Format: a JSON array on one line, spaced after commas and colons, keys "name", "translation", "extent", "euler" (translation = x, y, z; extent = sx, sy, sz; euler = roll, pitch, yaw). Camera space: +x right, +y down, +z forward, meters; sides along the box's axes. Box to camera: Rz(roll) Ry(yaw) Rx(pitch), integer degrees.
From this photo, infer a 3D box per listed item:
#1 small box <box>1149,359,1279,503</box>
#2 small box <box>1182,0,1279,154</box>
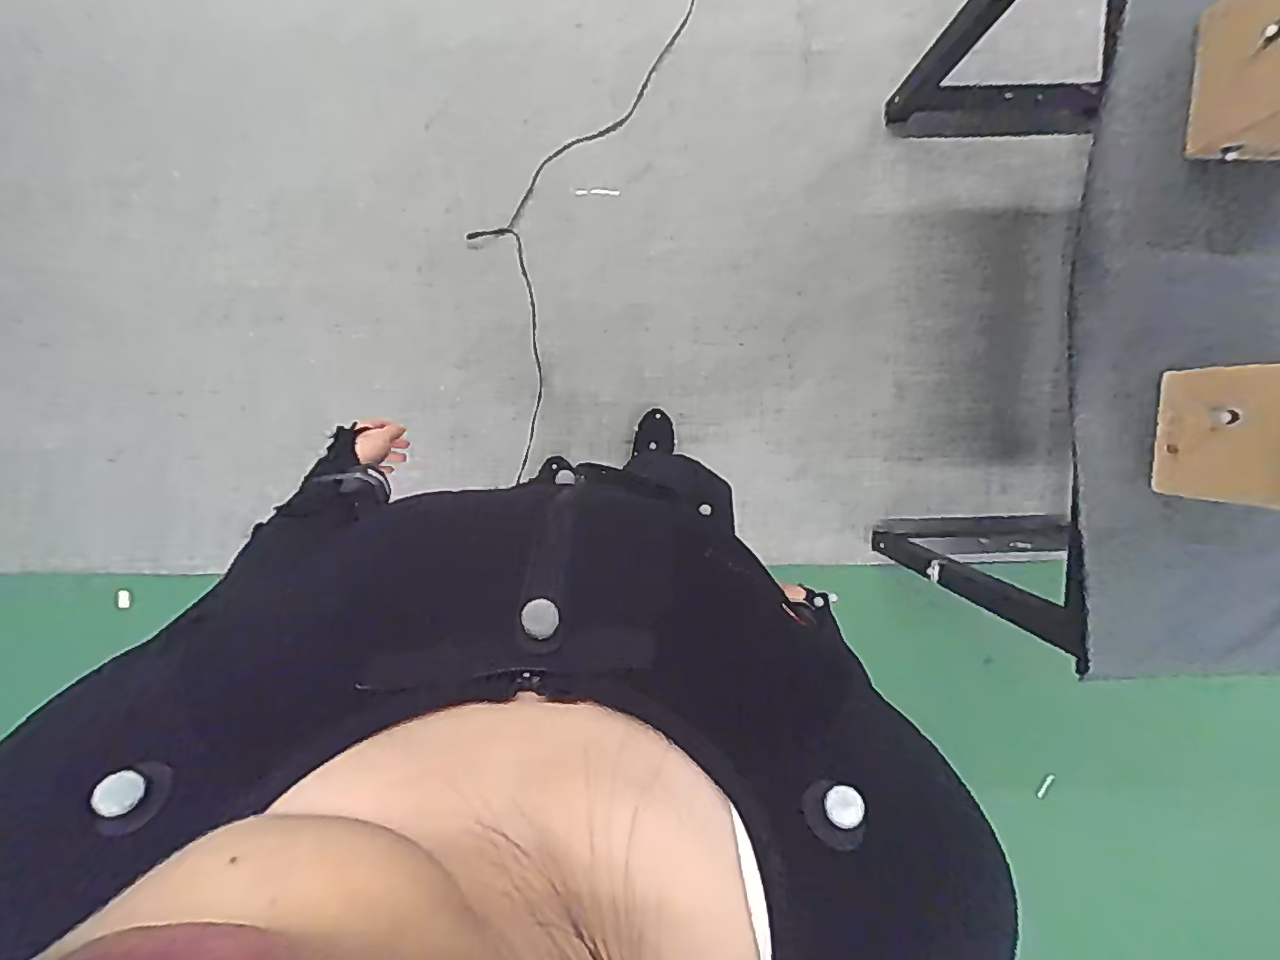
[{"name": "small box", "translation": [0.796, -0.060, 0.674], "extent": [0.179, 0.176, 0.168], "euler": [-1, 96, -3]}, {"name": "small box", "translation": [0.791, -0.503, 0.624], "extent": [0.168, 0.176, 0.179], "euler": [0, 96, -2]}]
